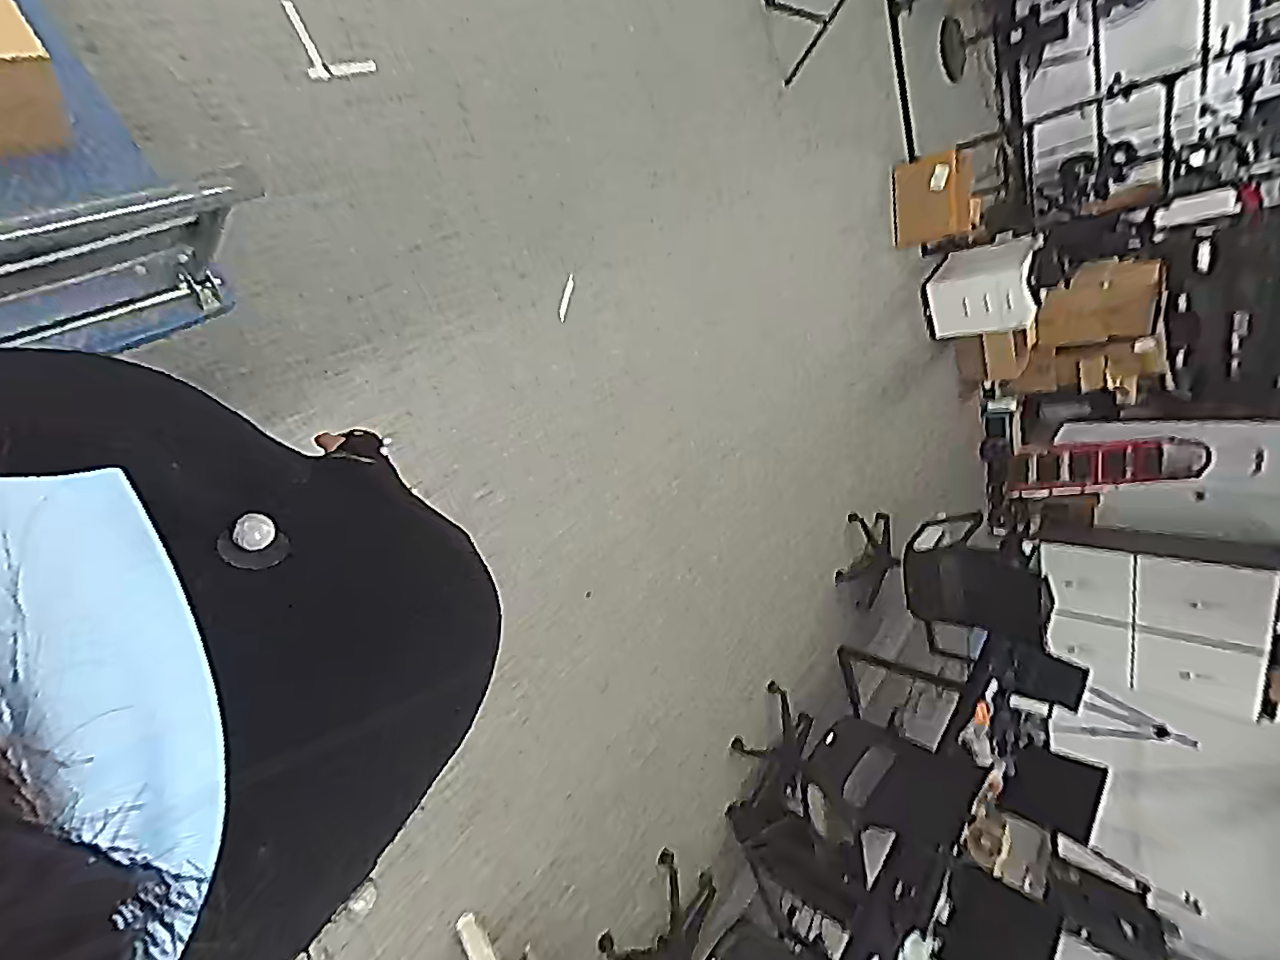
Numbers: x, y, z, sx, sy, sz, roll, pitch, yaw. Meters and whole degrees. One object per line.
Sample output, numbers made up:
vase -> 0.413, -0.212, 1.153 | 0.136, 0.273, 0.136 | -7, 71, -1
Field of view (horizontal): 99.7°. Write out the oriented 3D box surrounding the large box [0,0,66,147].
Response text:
large box -> -1.048, -0.594, 0.638 | 0.408, 0.320, 0.320 | -37, 117, -33
